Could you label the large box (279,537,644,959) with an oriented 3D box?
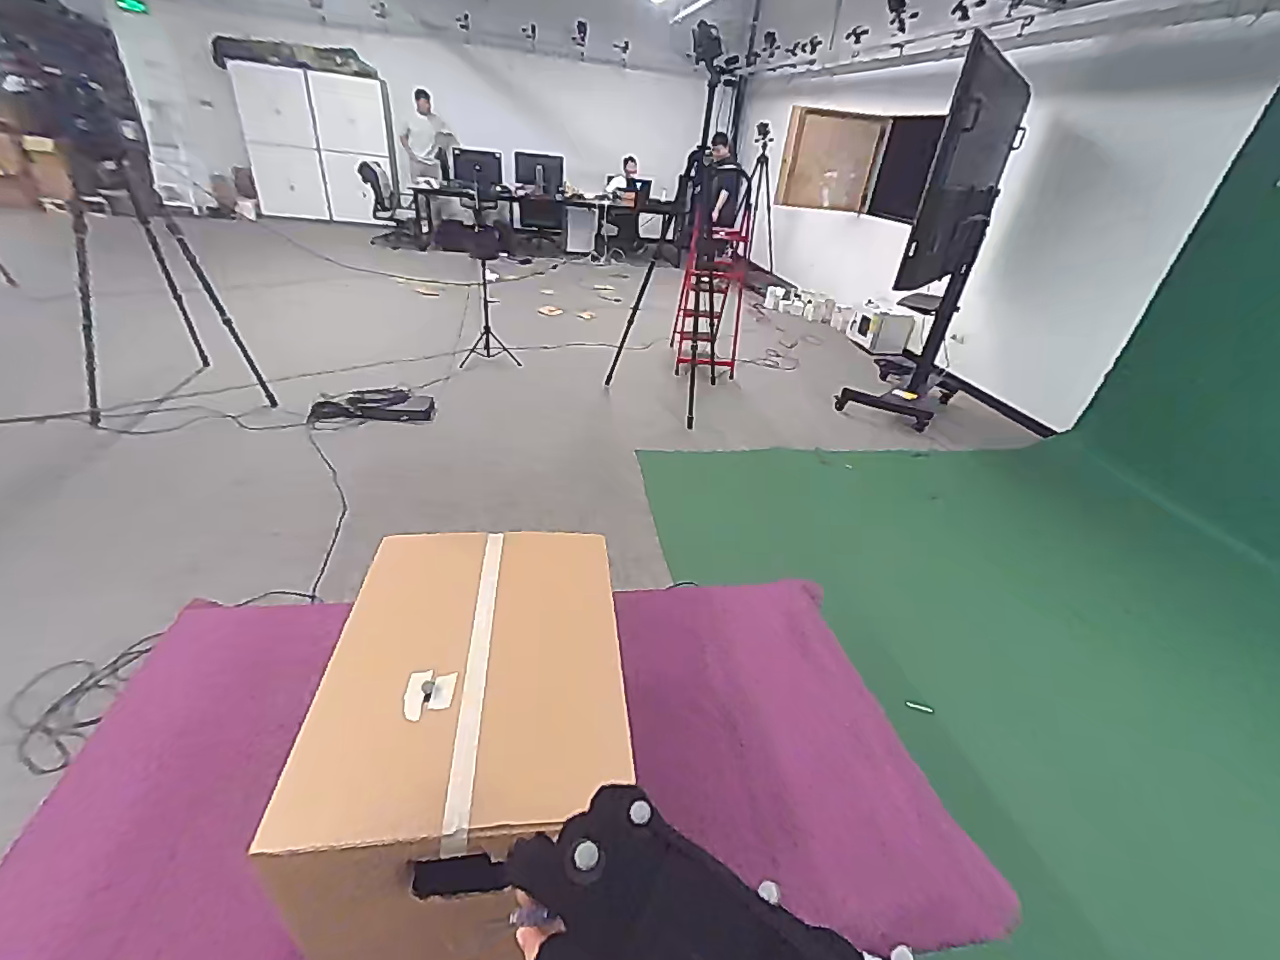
[{"bbox_3d":[-0.192,0.320,0.706,0.320,0.320,0.408,1,33,-9],"label":"large box"}]
